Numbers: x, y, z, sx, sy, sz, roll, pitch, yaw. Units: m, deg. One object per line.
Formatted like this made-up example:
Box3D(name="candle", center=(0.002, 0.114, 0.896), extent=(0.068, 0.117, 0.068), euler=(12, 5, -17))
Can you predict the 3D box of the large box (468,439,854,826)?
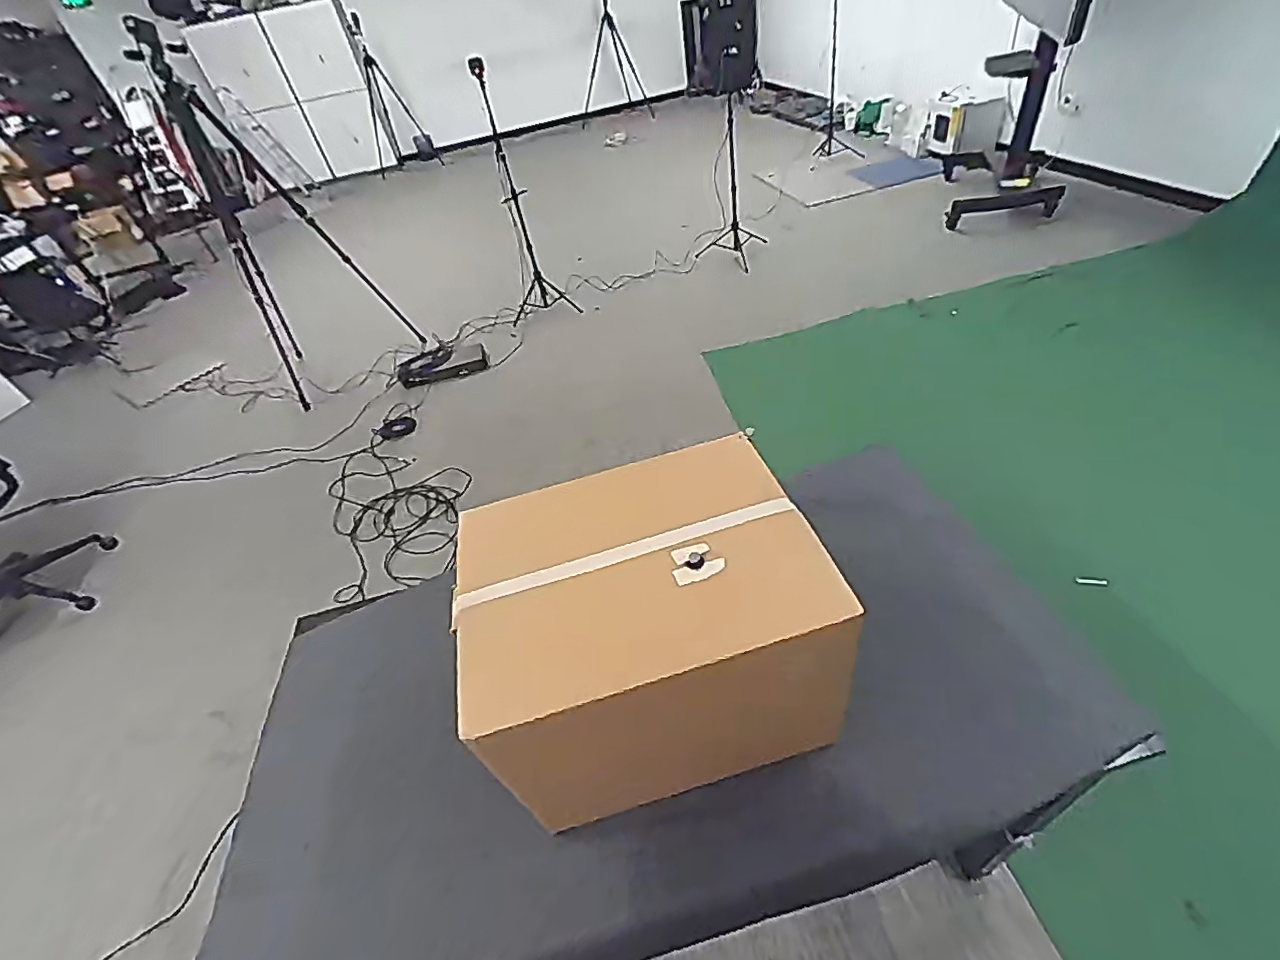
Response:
Box3D(name="large box", center=(0.015, 0.200, 0.738), extent=(0.408, 0.320, 0.320), euler=(-16, 43, -5))
